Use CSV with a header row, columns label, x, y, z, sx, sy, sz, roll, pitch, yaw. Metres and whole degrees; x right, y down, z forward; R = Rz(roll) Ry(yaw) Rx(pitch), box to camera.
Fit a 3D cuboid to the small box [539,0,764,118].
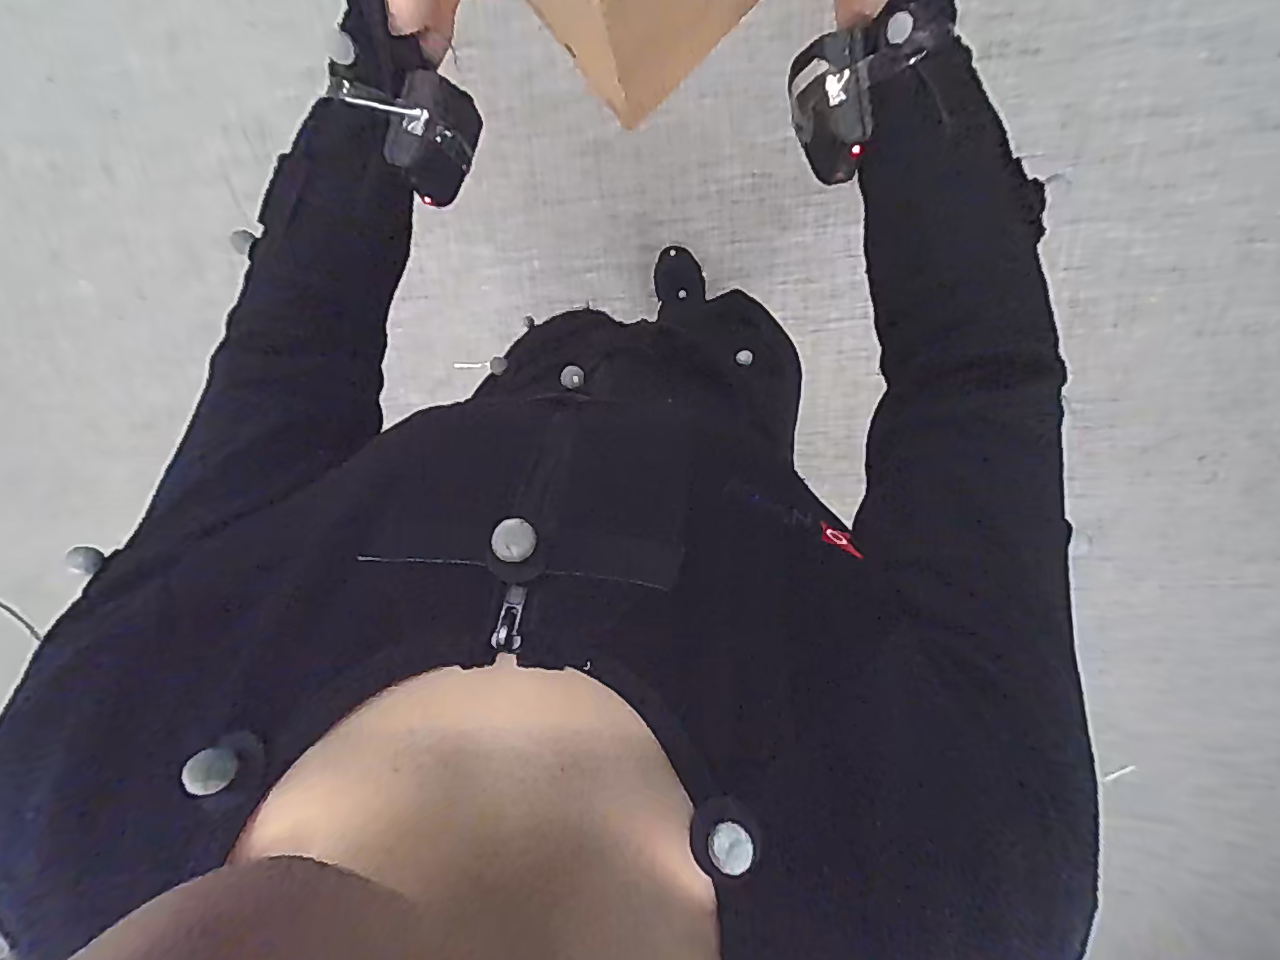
label,x,y,z,sx,sy,sz,roll,pitch,yaw
small box,0.002,-0.347,0.290,0.179,0.176,0.168,-40,99,14
